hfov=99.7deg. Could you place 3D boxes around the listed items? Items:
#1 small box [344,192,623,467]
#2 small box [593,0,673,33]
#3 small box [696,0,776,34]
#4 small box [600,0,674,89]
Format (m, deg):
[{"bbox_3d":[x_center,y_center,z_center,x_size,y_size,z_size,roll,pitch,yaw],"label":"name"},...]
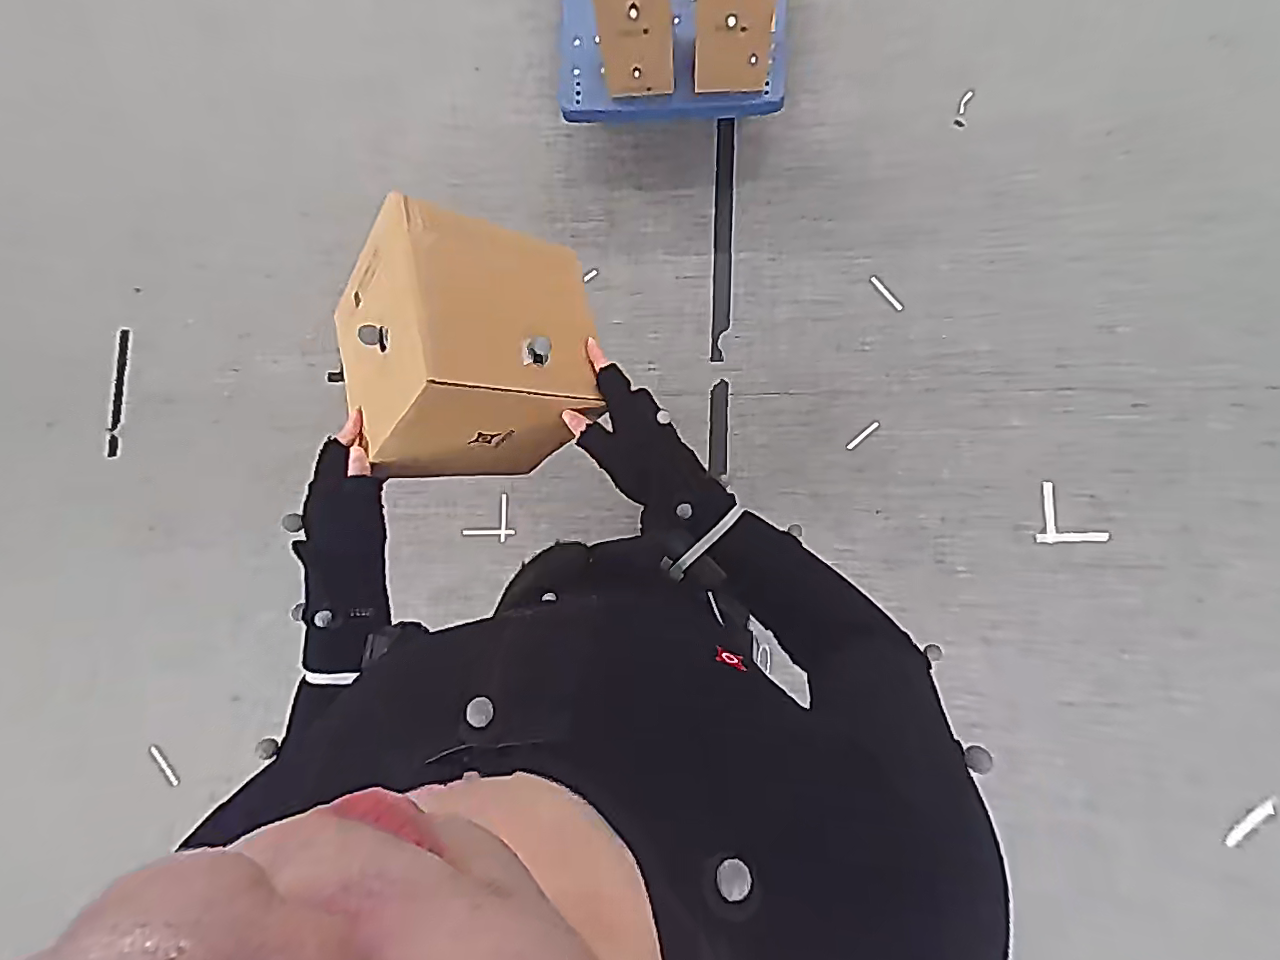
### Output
[{"bbox_3d":[-0.149,-0.122,0.491,0.168,0.179,0.176,-30,71,42],"label":"small box"},{"bbox_3d":[-0.018,-1.082,1.131,0.168,0.176,0.179,-2,88,4],"label":"small box"},{"bbox_3d":[0.202,-1.072,1.112,0.168,0.176,0.179,3,88,5],"label":"small box"},{"bbox_3d":[-0.003,-1.075,1.295,0.168,0.176,0.179,0,86,4],"label":"small box"}]
